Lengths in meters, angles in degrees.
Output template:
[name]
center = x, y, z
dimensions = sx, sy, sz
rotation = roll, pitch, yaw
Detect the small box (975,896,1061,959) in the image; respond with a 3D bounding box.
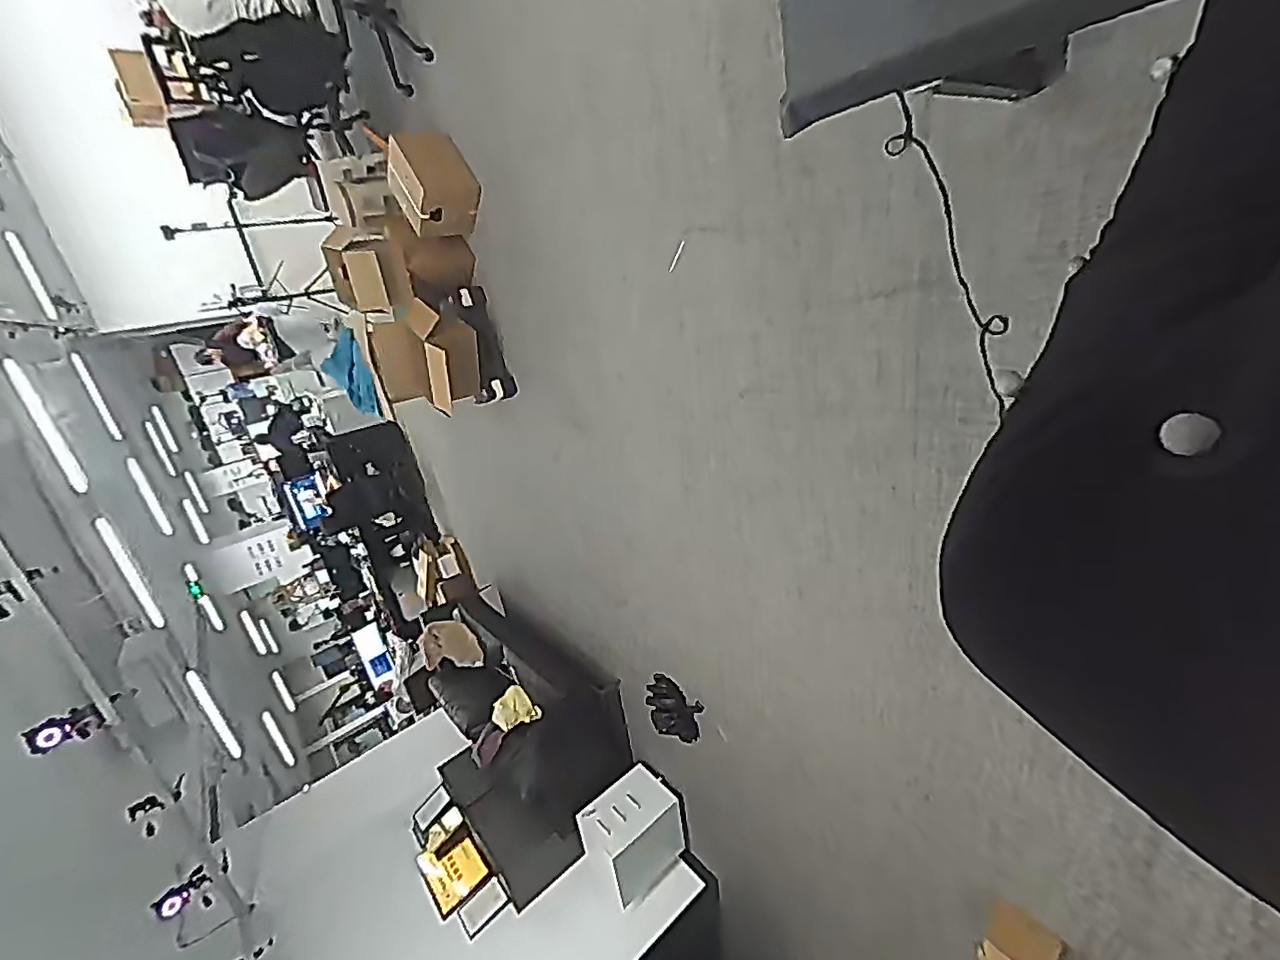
[small box]
center = 1.256, 1.539, 1.798
dimensions = 0.179, 0.176, 0.168
rotation = 21, 127, 47
